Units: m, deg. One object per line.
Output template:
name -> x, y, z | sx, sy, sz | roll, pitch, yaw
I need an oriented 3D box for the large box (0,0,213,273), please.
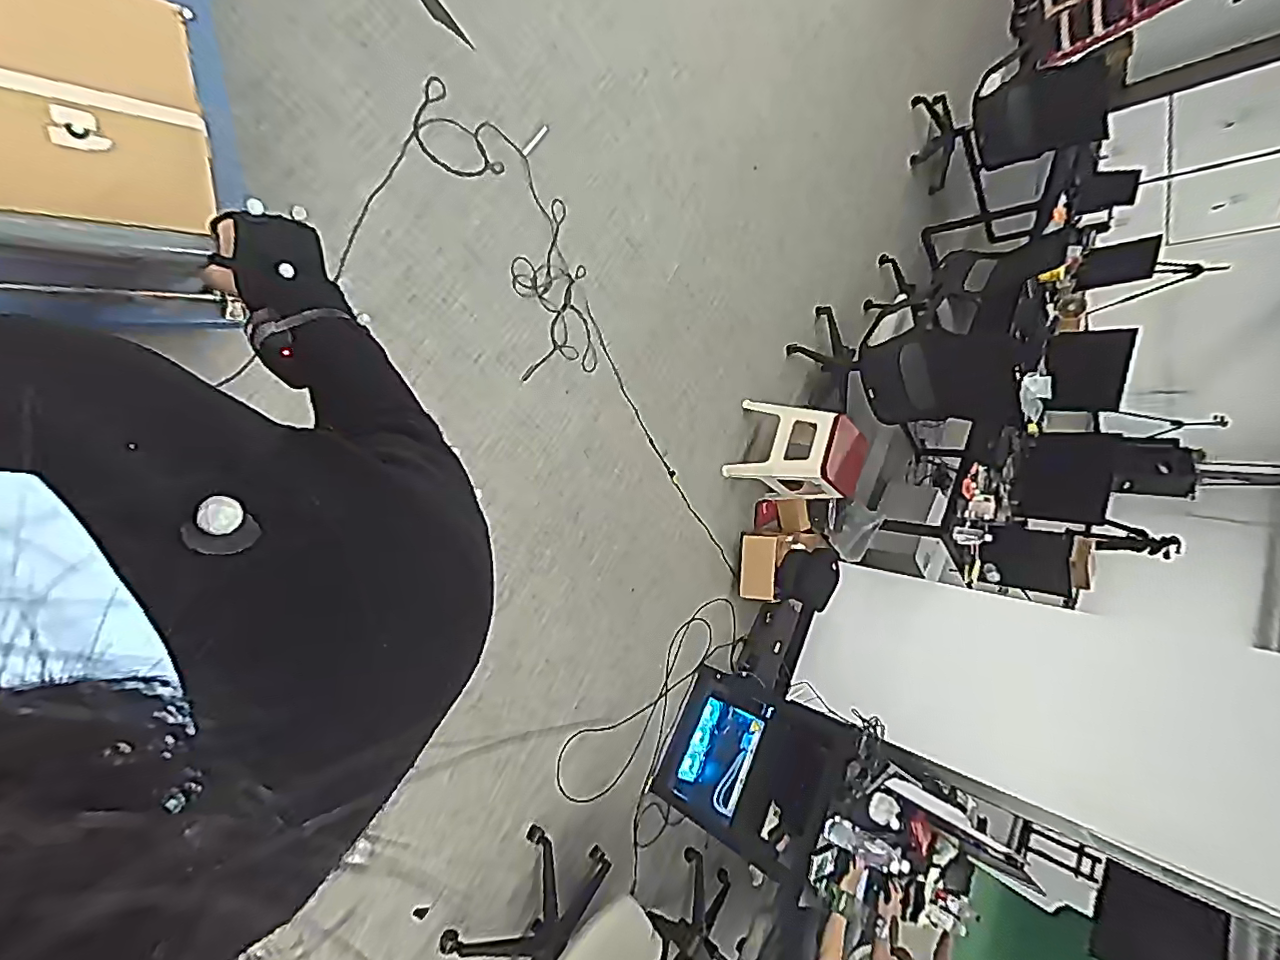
large box -> -0.903, -0.497, 0.764 | 0.408, 0.320, 0.320 | -12, 104, -44
